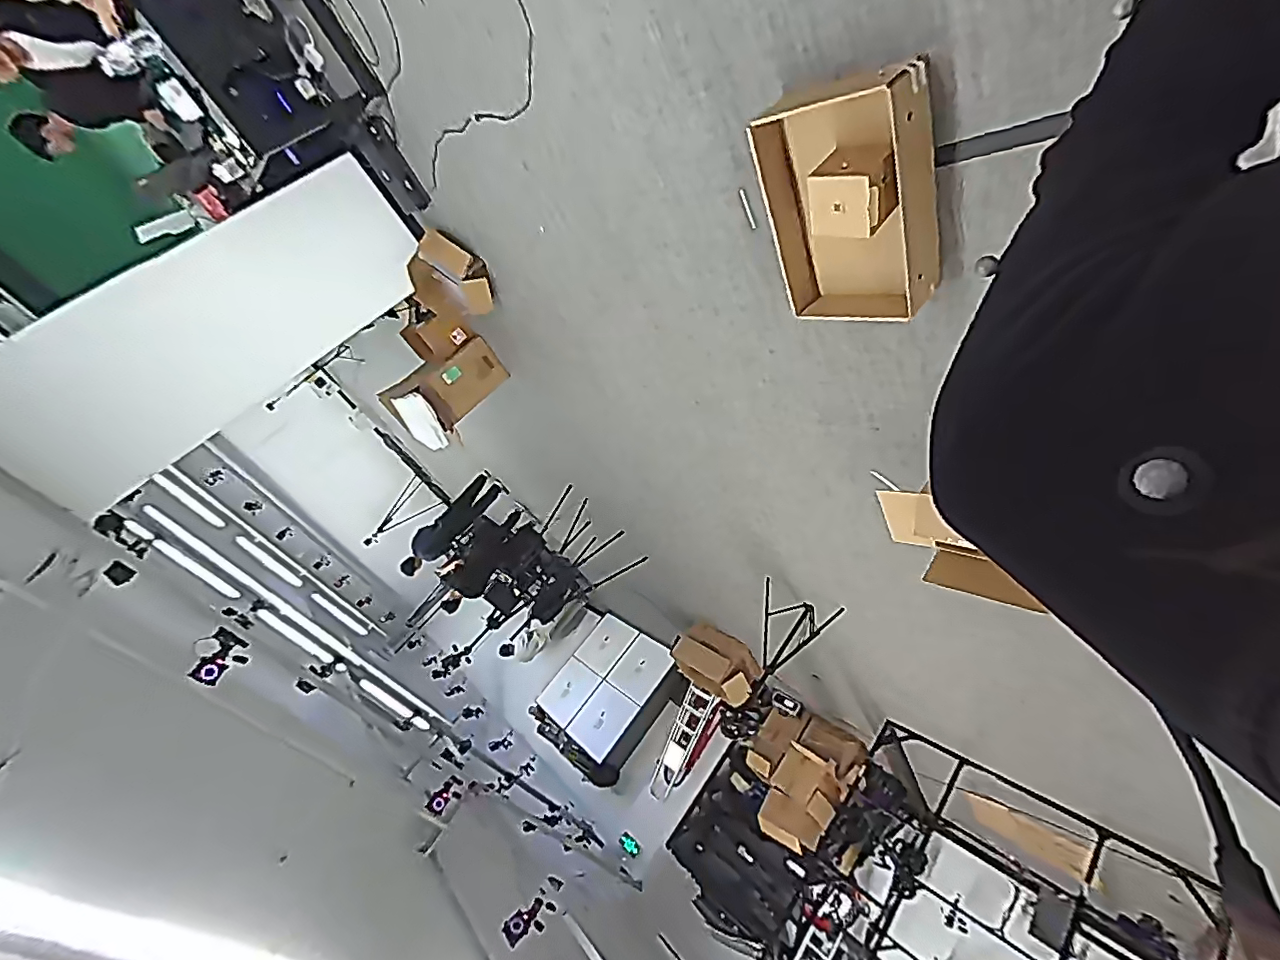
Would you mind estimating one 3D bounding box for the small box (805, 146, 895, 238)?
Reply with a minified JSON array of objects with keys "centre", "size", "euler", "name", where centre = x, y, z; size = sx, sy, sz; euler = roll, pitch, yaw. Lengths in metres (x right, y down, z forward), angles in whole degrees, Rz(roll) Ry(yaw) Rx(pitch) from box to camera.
[{"centre":[0.574,-0.783,1.469],"size":[0.179,0.176,0.168],"euler":[24,152,37],"name":"small box"}]
